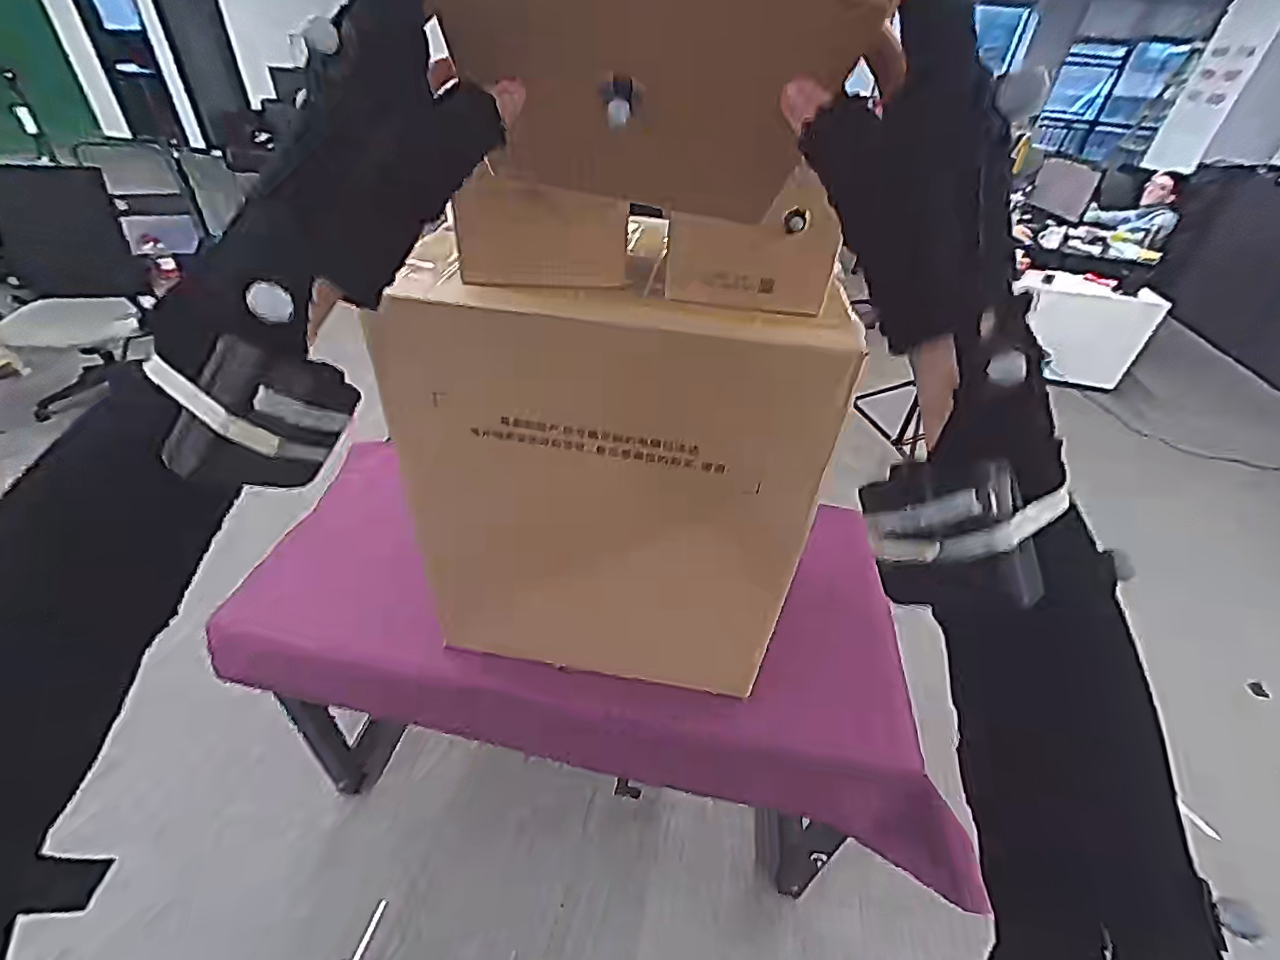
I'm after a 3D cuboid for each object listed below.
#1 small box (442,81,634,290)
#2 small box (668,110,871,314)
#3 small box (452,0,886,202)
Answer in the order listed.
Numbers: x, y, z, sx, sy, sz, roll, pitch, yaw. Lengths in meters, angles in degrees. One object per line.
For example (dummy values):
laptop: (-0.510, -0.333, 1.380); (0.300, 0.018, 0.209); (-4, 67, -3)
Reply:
small box: (-0.098, -0.317, 0.584); (0.179, 0.176, 0.168); (0, 40, -8)
small box: (0.124, -0.291, 0.576); (0.168, 0.176, 0.179); (9, 38, 4)
small box: (0.015, -0.268, 0.267); (0.179, 0.168, 0.176); (9, -3, -3)
